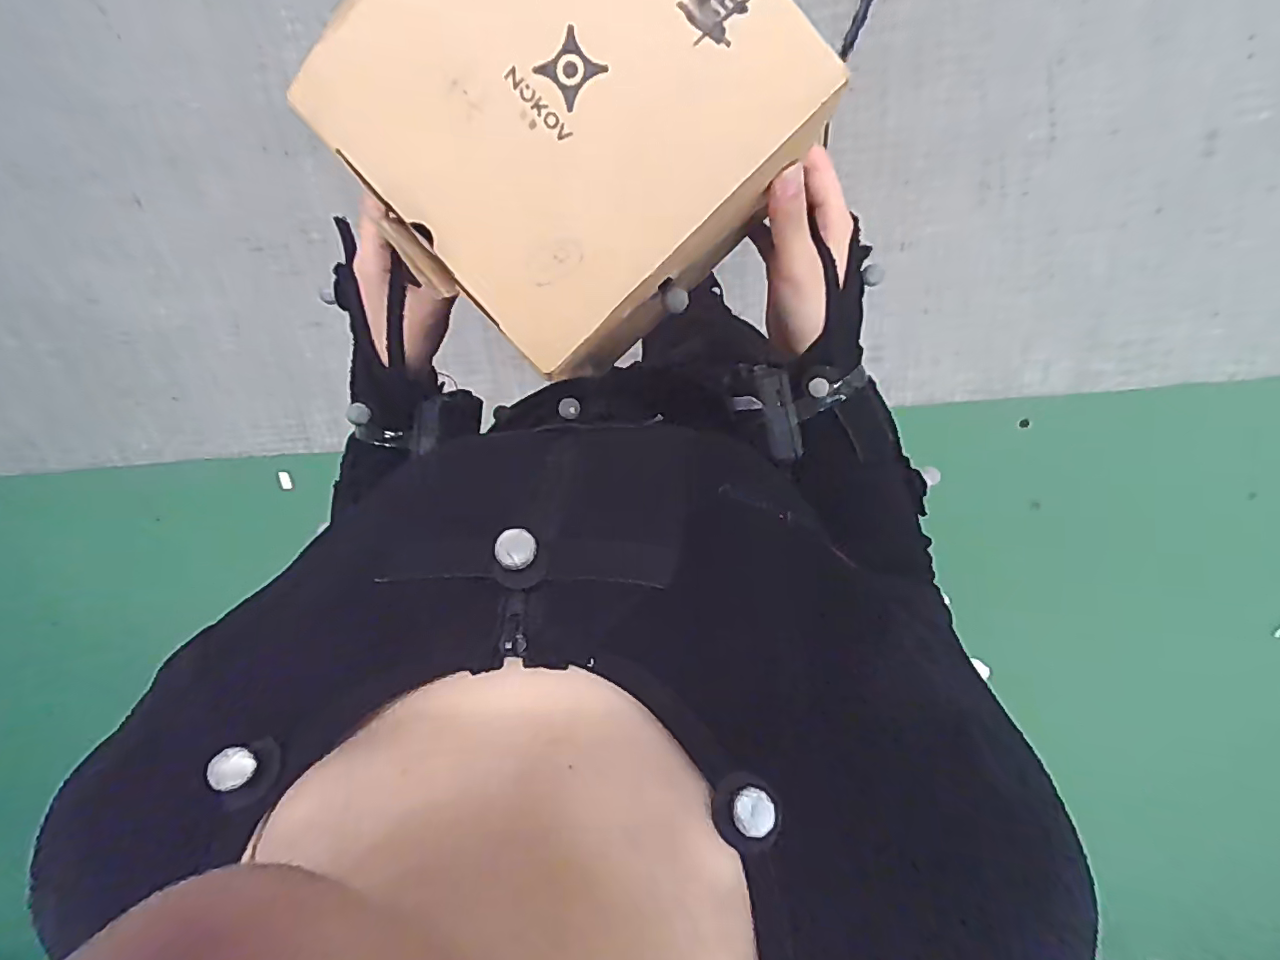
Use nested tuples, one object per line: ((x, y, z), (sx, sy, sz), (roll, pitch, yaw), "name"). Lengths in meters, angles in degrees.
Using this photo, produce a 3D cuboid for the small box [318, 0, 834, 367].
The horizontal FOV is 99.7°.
((-0.025, -0.182, 0.314), (0.179, 0.176, 0.168), (-42, 95, 11), "small box")
